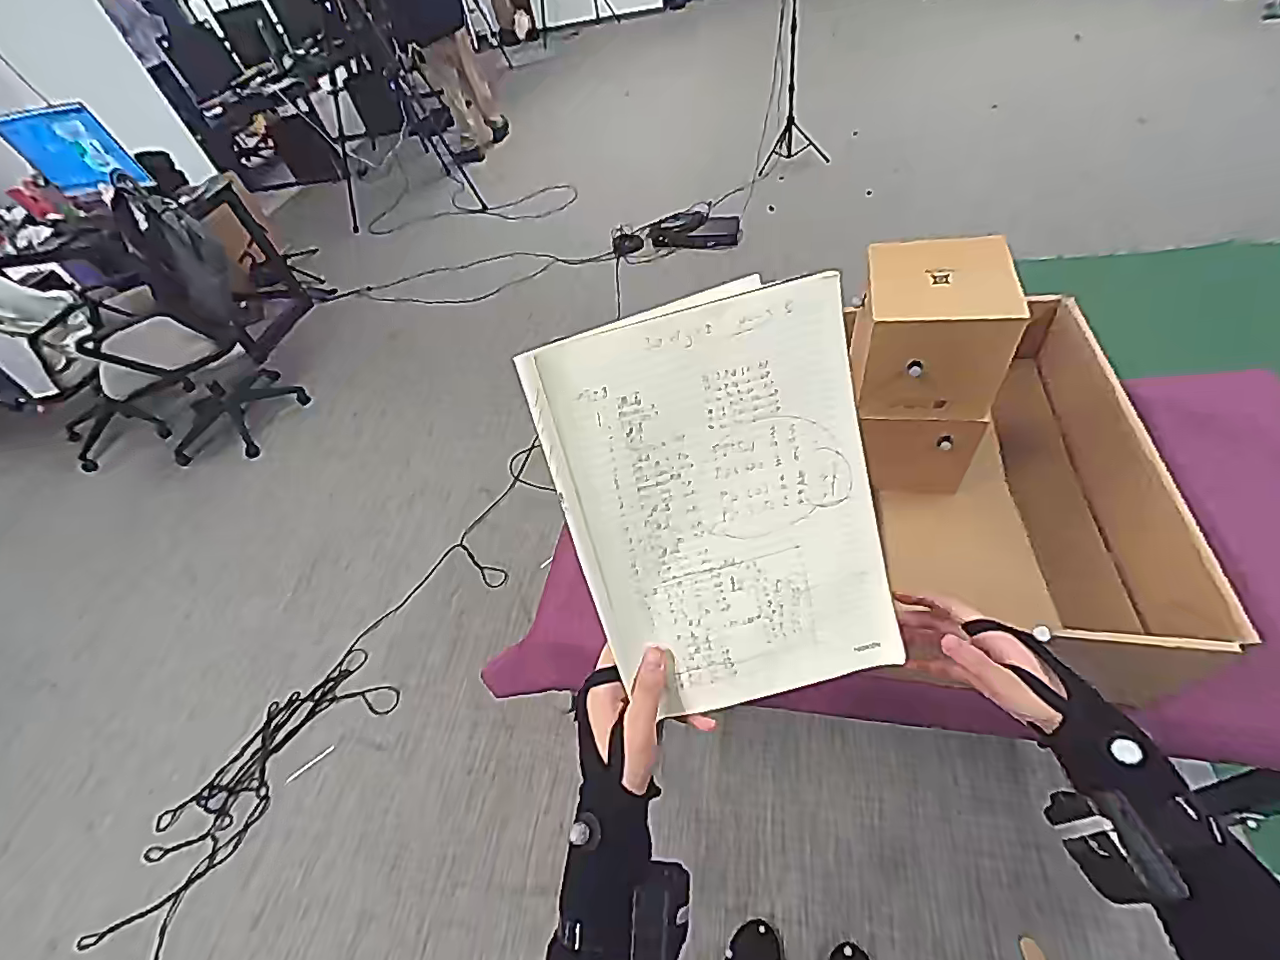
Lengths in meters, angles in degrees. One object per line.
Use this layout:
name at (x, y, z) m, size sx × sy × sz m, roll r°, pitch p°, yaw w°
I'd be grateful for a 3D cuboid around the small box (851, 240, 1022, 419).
small box at (0.384, -0.198, 0.736) m, size 0.168 × 0.176 × 0.179 m, roll 3°, pitch 52°, yaw 16°
